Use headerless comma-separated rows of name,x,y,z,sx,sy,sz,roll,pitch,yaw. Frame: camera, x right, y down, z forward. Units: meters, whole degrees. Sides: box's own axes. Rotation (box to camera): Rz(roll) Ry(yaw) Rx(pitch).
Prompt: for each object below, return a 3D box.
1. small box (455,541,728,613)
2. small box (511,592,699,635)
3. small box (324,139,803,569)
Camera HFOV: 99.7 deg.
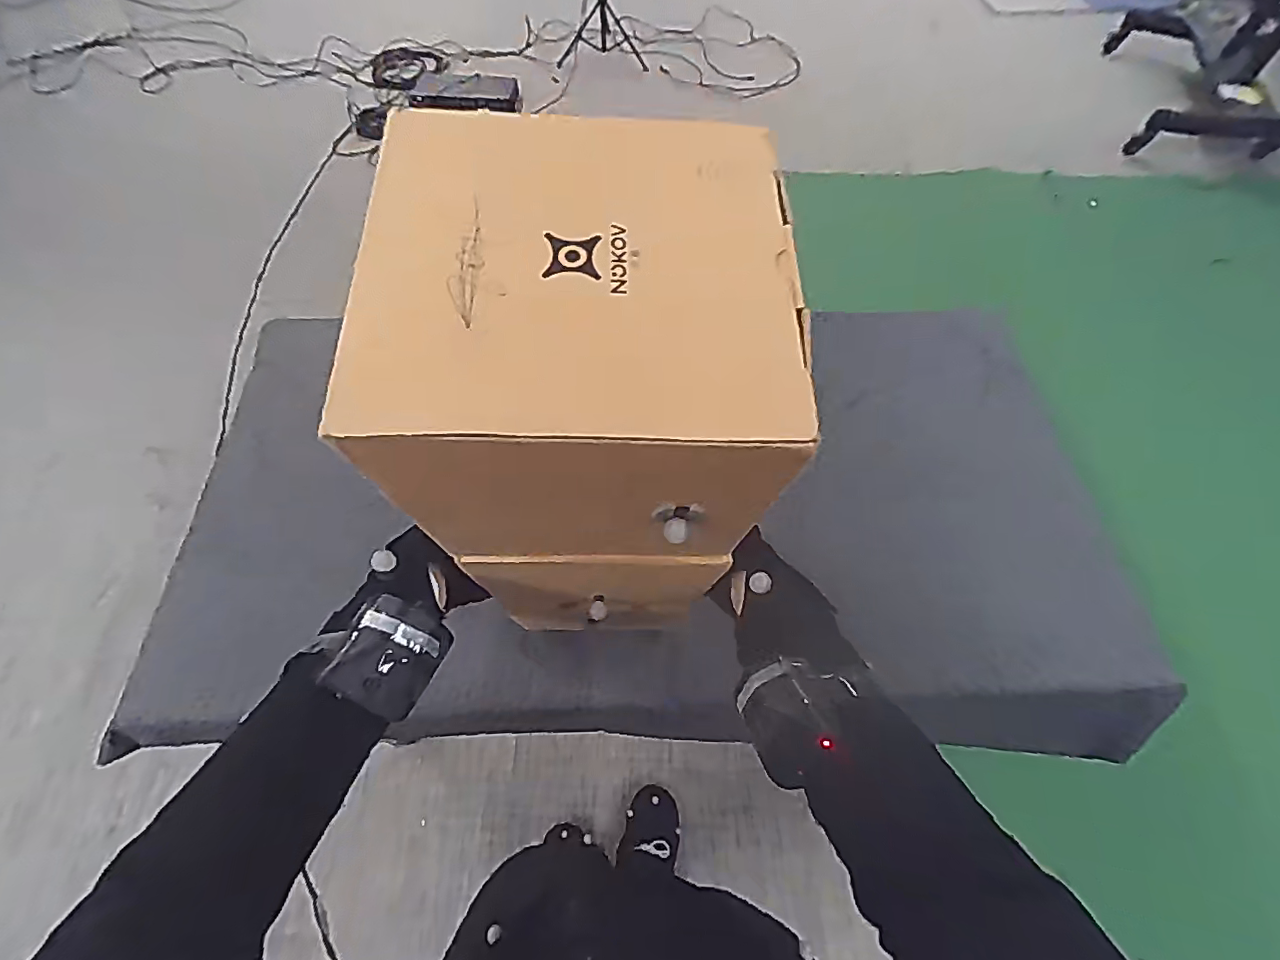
small box,-0.035,0.013,0.446,0.179,0.176,0.168,1,67,-3
small box,-0.041,0.077,0.598,0.179,0.176,0.168,-2,69,-5
small box,-0.030,-0.050,0.298,0.179,0.176,0.168,-1,68,-2
